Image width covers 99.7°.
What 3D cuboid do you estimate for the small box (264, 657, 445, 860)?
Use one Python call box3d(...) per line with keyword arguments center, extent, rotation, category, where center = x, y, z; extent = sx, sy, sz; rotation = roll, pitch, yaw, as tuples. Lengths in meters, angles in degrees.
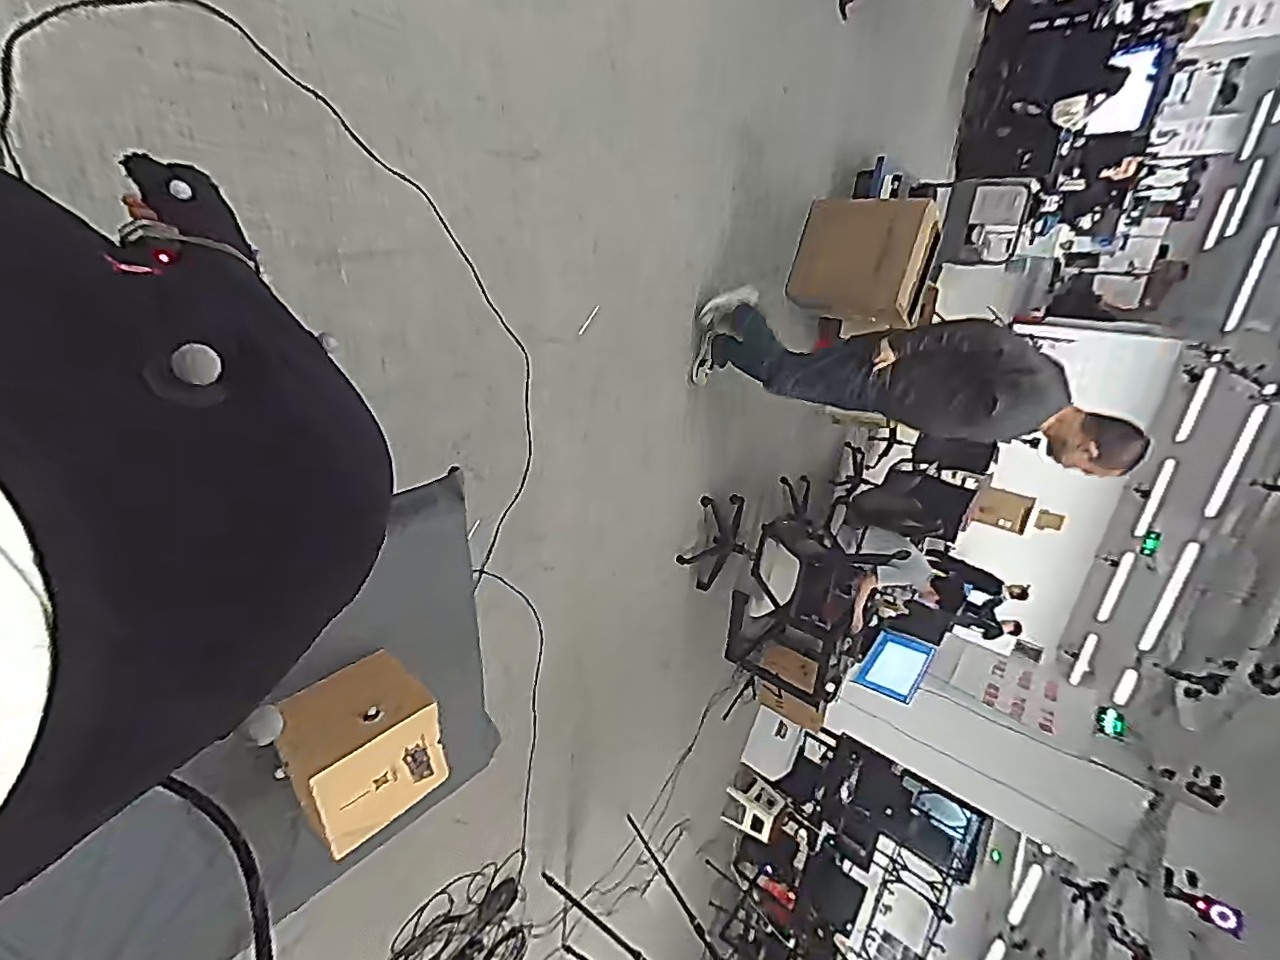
box3d(center=(-0.425, 0.402, 0.816), extent=(0.179, 0.176, 0.168), rotation=(-24, 124, -44), category="small box")
